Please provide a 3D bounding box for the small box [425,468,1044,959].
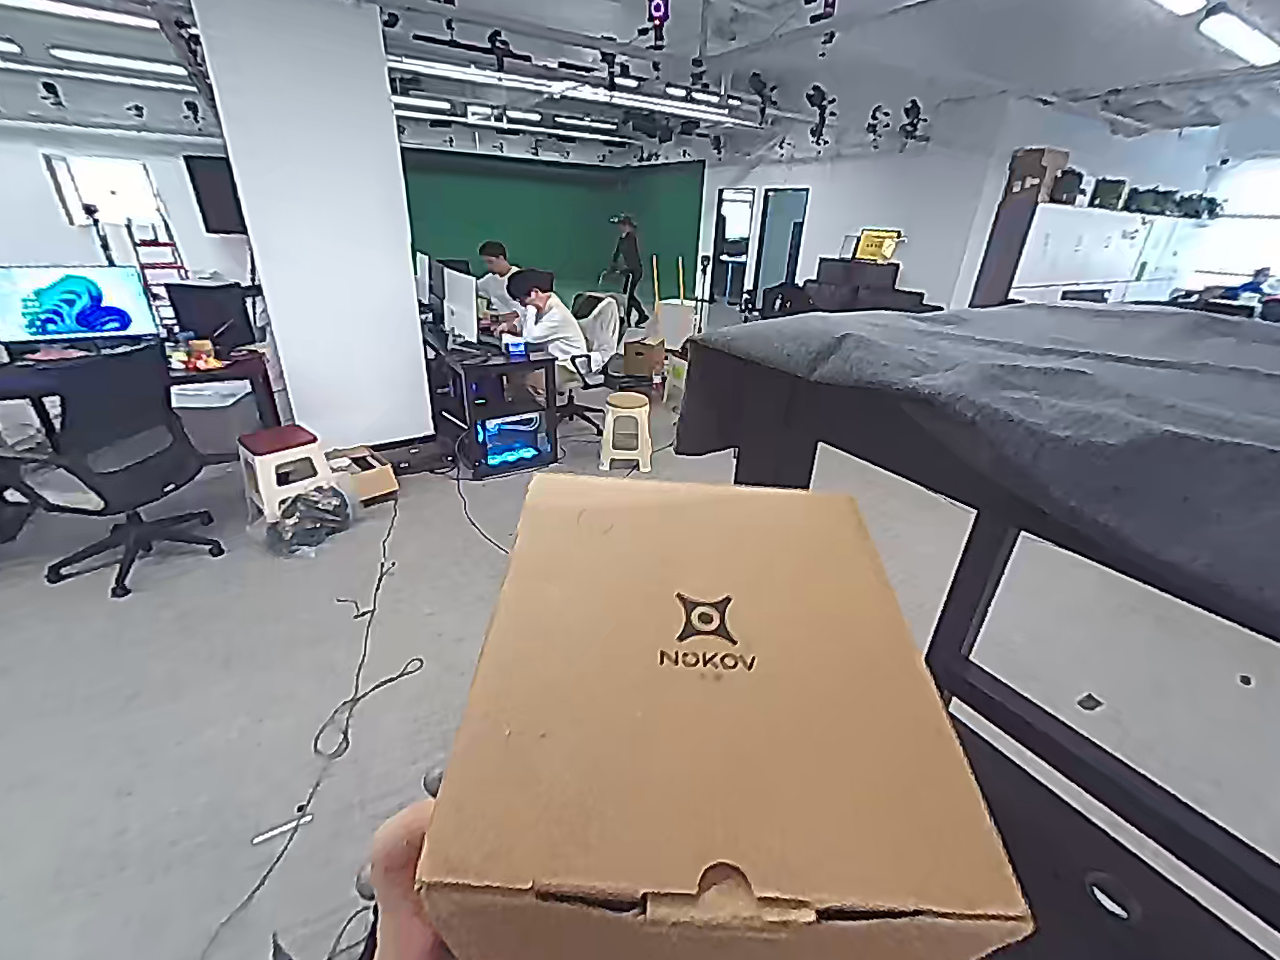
[{"bbox_3d":[0.022,0.116,0.253,0.168,0.176,0.179,3,39,-1],"label":"small box"}]
